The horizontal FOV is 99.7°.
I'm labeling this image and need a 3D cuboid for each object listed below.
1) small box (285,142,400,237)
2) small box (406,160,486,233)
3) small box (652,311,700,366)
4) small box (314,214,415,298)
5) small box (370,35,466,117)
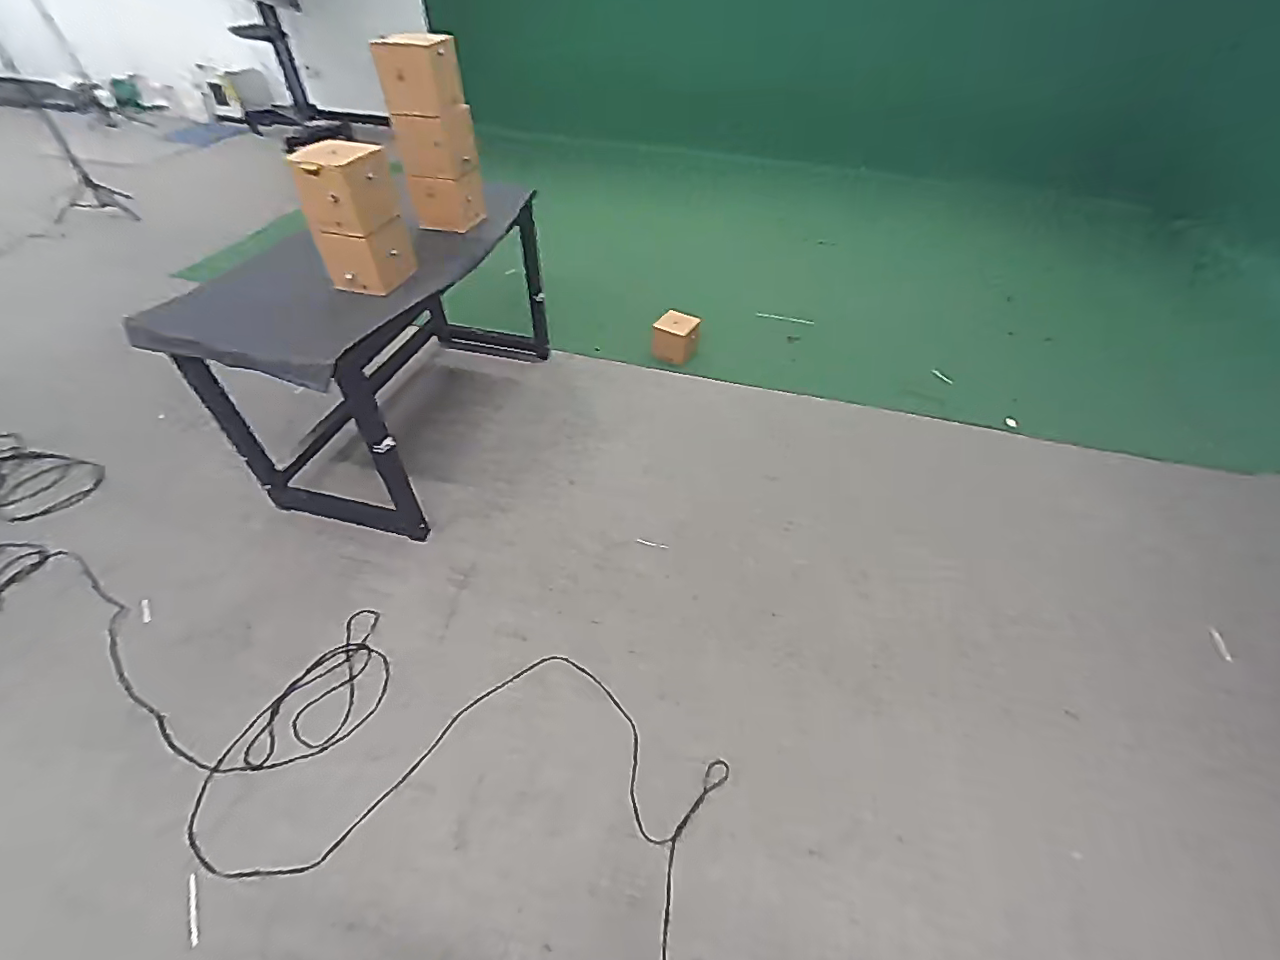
[{"bbox_3d":[-0.749,-0.743,1.387,0.168,0.176,0.179,14,47,10],"label":"small box"},{"bbox_3d":[-0.637,-0.944,1.805,0.179,0.176,0.168,11,47,10],"label":"small box"},{"bbox_3d":[0.170,-0.672,2.579,0.168,0.176,0.179,26,51,19],"label":"small box"},{"bbox_3d":[-0.754,-0.634,1.507,0.168,0.176,0.179,12,48,11],"label":"small box"},{"bbox_3d":[-0.634,-1.169,1.566,0.179,0.176,0.168,8,47,8],"label":"small box"}]
